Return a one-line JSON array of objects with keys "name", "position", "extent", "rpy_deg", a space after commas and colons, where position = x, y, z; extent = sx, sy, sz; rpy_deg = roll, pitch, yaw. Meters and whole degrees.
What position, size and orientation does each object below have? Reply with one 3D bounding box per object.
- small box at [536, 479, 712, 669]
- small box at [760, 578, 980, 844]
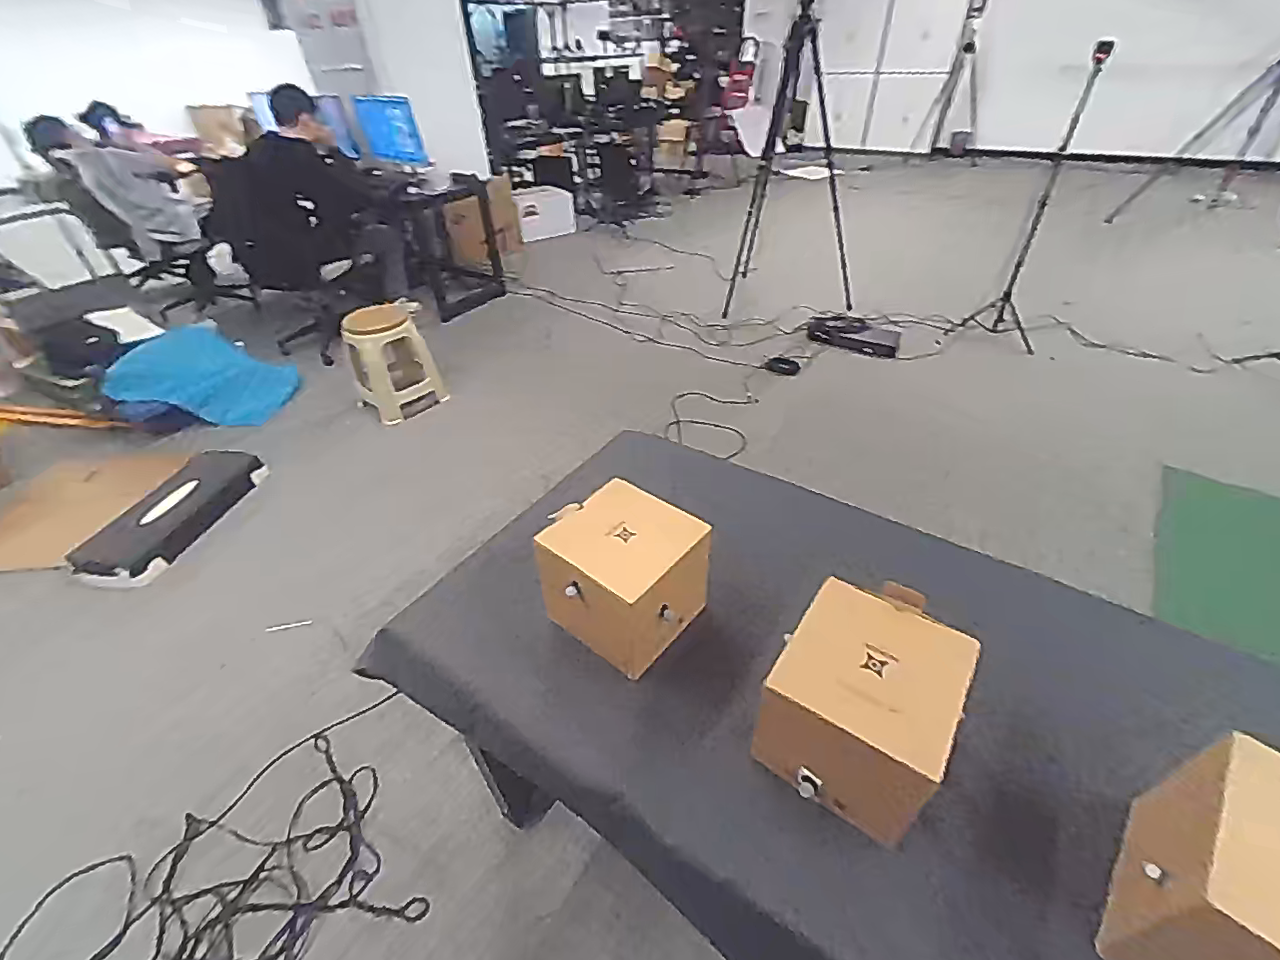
[{"name": "small box", "position": [-0.018, 0.133, 0.757], "extent": [0.179, 0.176, 0.168], "rpy_deg": [27, 46, 31]}, {"name": "small box", "position": [0.245, 0.250, 0.601], "extent": [0.168, 0.176, 0.179], "rpy_deg": [22, 45, 28]}]
